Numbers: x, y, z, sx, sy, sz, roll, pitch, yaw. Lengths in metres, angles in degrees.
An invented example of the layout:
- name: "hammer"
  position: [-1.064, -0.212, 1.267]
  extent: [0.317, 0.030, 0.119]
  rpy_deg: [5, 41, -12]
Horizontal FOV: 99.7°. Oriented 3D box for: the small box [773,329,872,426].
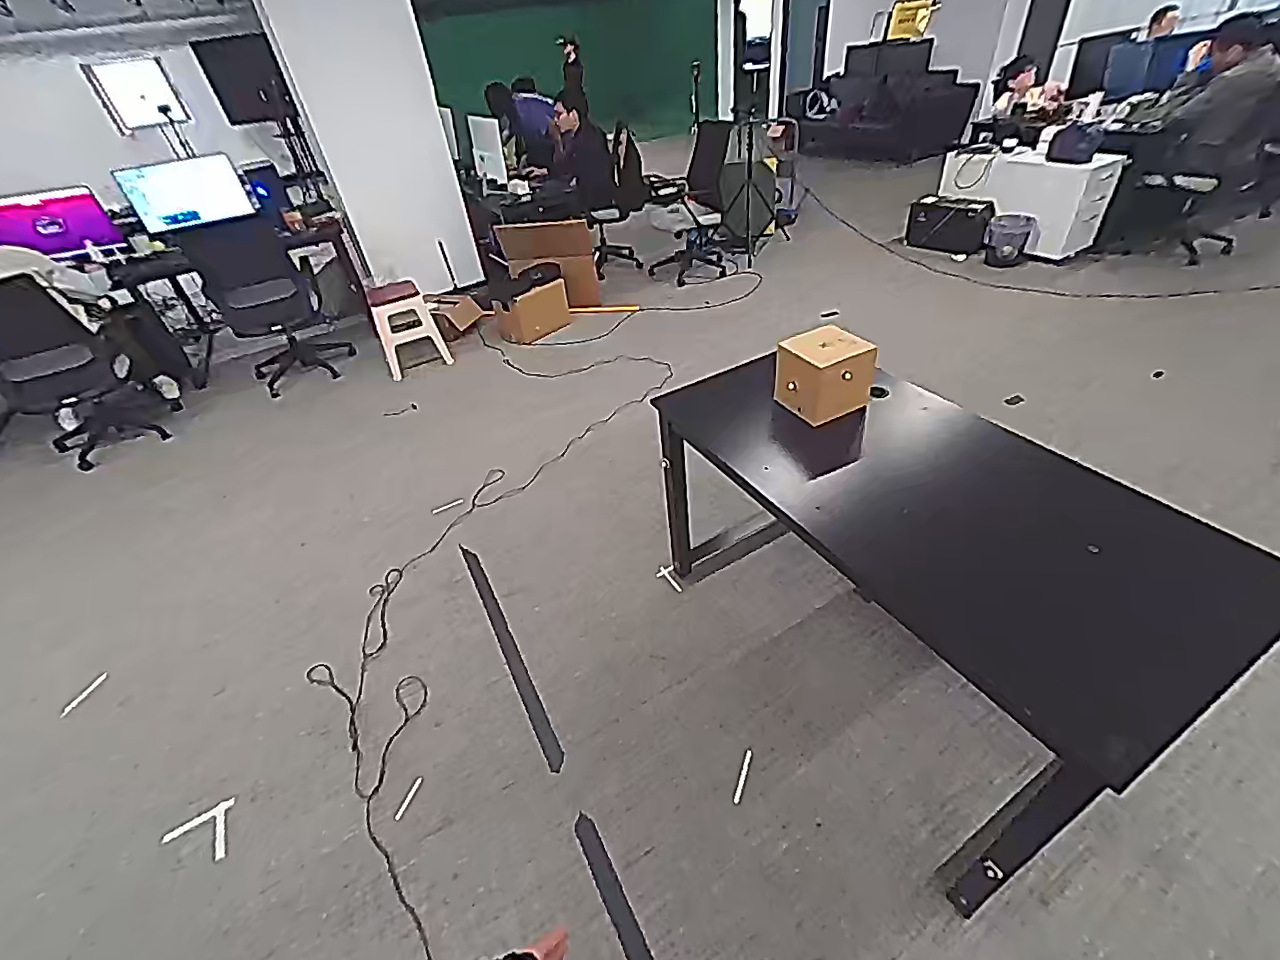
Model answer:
- name: "small box"
  position: [0.461, -0.263, 1.388]
  extent: [0.179, 0.176, 0.168]
  rpy_deg: [-22, 41, -17]
